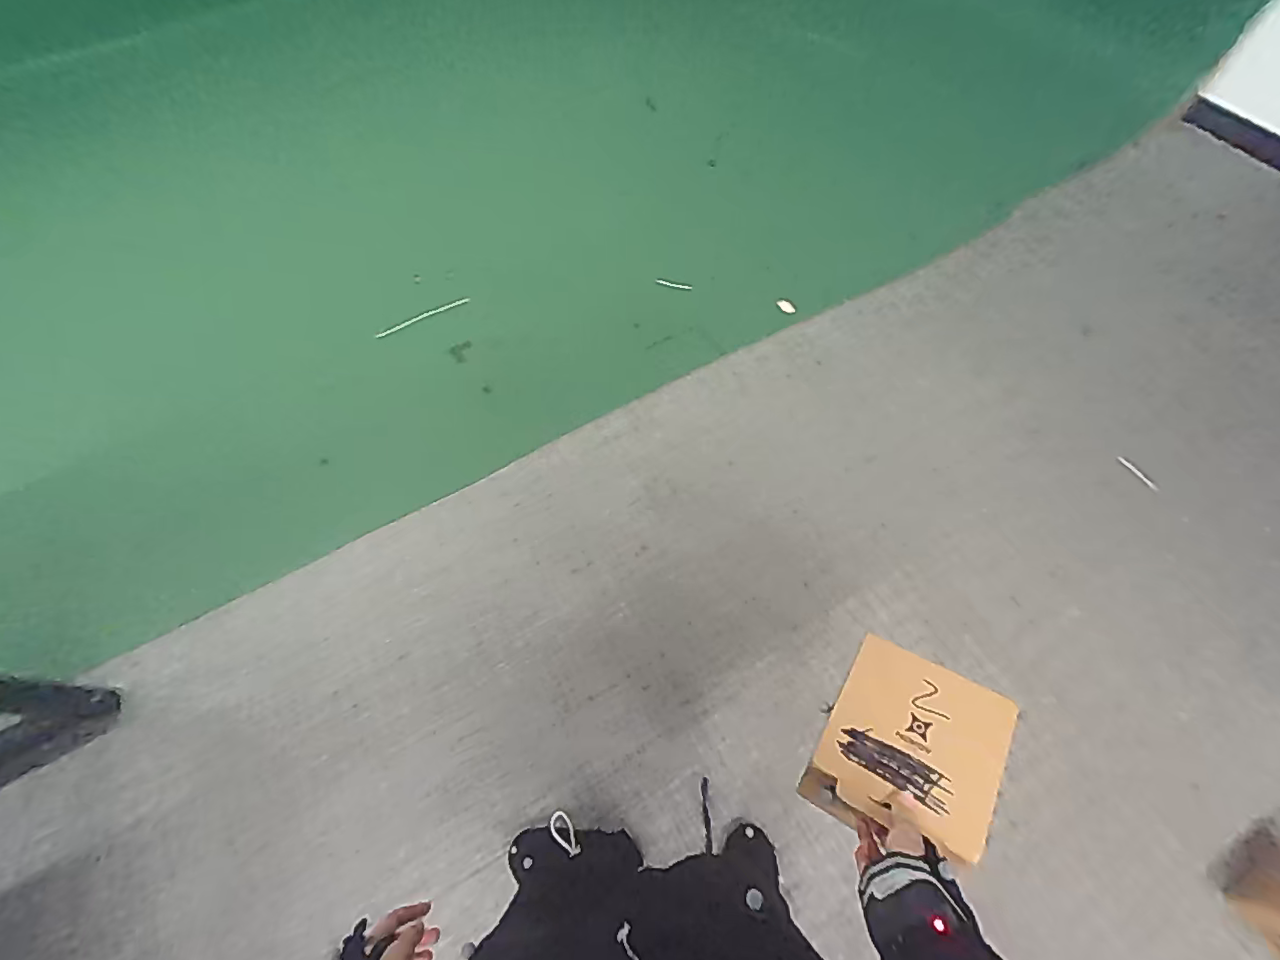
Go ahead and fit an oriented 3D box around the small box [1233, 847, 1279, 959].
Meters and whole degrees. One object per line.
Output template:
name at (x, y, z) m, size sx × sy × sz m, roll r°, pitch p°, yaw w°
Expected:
small box at (1.208, 0.766, 0.926) m, size 0.179 × 0.176 × 0.168 m, roll -30°, pitch 66°, yaw -11°
